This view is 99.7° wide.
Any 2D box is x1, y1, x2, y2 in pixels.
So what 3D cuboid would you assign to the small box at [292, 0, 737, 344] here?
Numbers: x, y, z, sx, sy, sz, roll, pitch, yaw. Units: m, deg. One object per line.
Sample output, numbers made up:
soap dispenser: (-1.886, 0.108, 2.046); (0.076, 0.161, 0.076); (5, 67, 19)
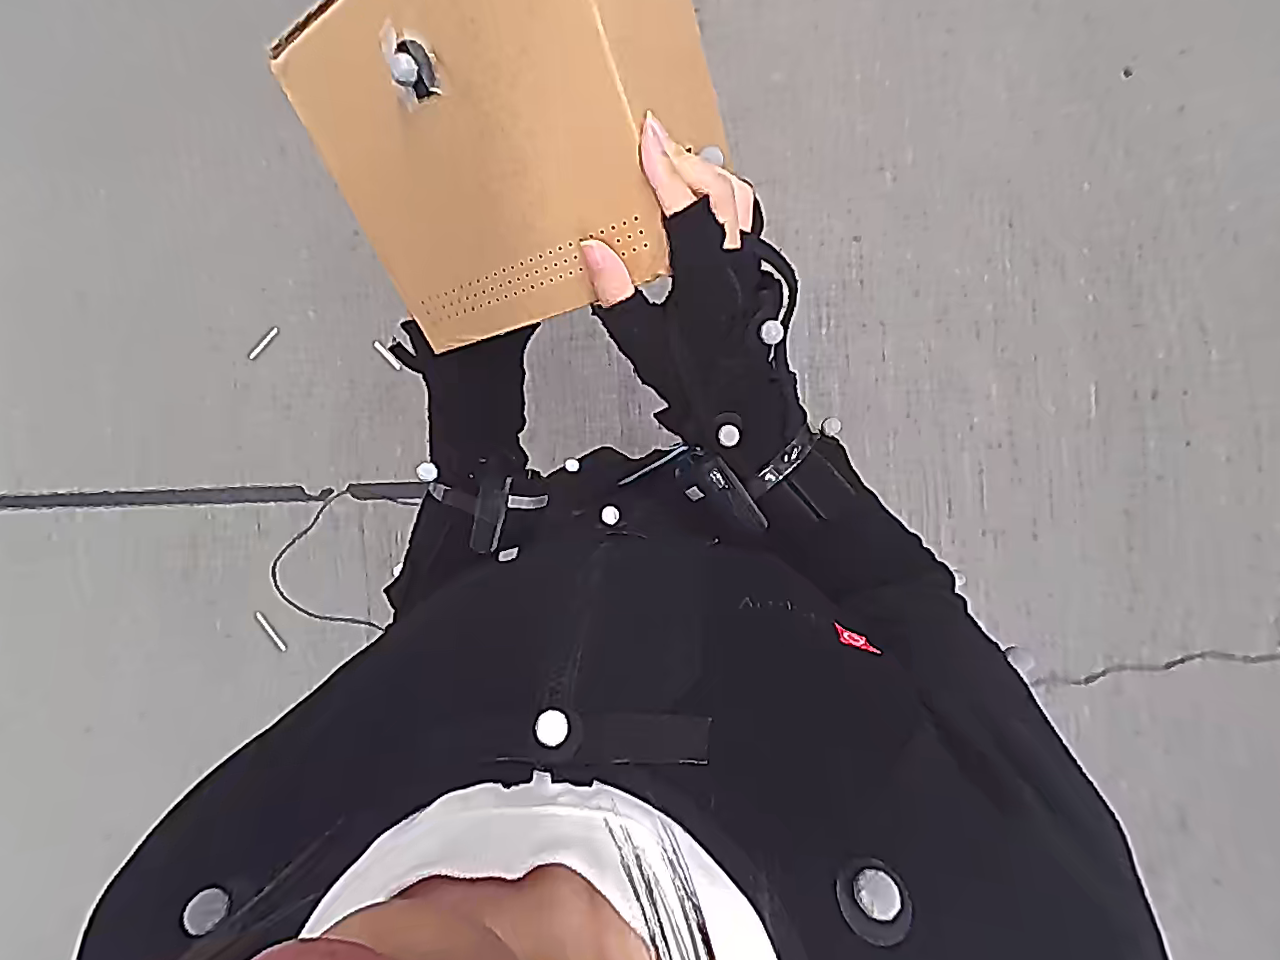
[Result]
small box: (-0.059, -0.205, 0.344); (0.179, 0.168, 0.176); (-8, 122, 30)
